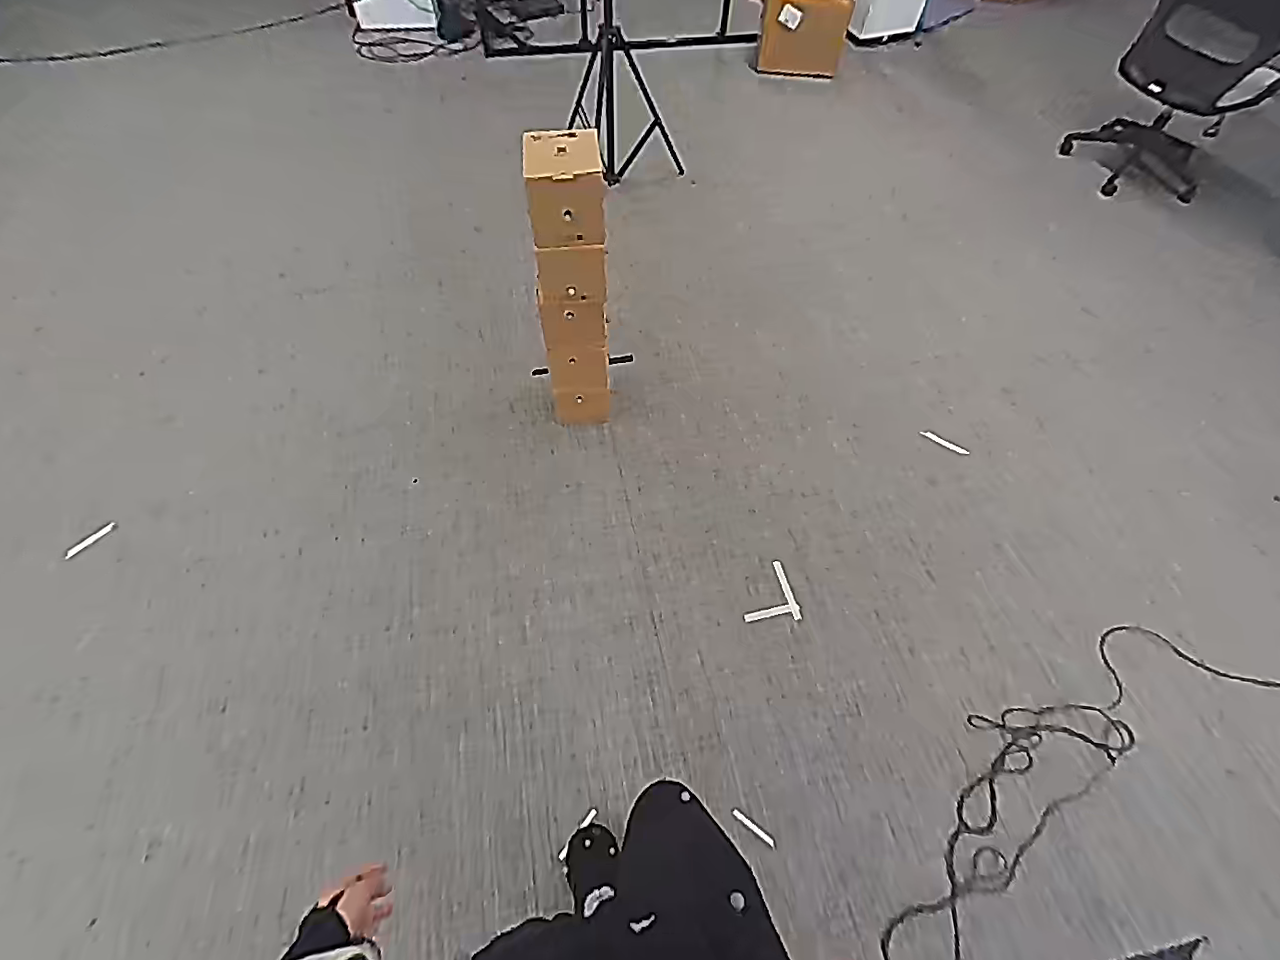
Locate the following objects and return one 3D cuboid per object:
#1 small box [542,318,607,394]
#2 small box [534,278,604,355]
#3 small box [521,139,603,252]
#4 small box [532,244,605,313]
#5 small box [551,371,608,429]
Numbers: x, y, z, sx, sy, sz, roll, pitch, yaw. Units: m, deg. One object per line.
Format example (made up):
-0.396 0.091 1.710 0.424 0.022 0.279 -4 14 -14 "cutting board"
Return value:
-0.195 -0.375 1.644 0.179 0.176 0.168 -1 60 -1 "small box"
-0.193 -0.465 1.510 0.179 0.176 0.168 -3 60 -3 "small box"
-0.175 -0.640 1.232 0.168 0.176 0.179 -5 61 -4 "small box"
-0.177 -0.548 1.368 0.168 0.176 0.179 -4 61 -2 "small box"
-0.196 -0.283 1.780 0.179 0.176 0.168 -3 59 -3 "small box"
